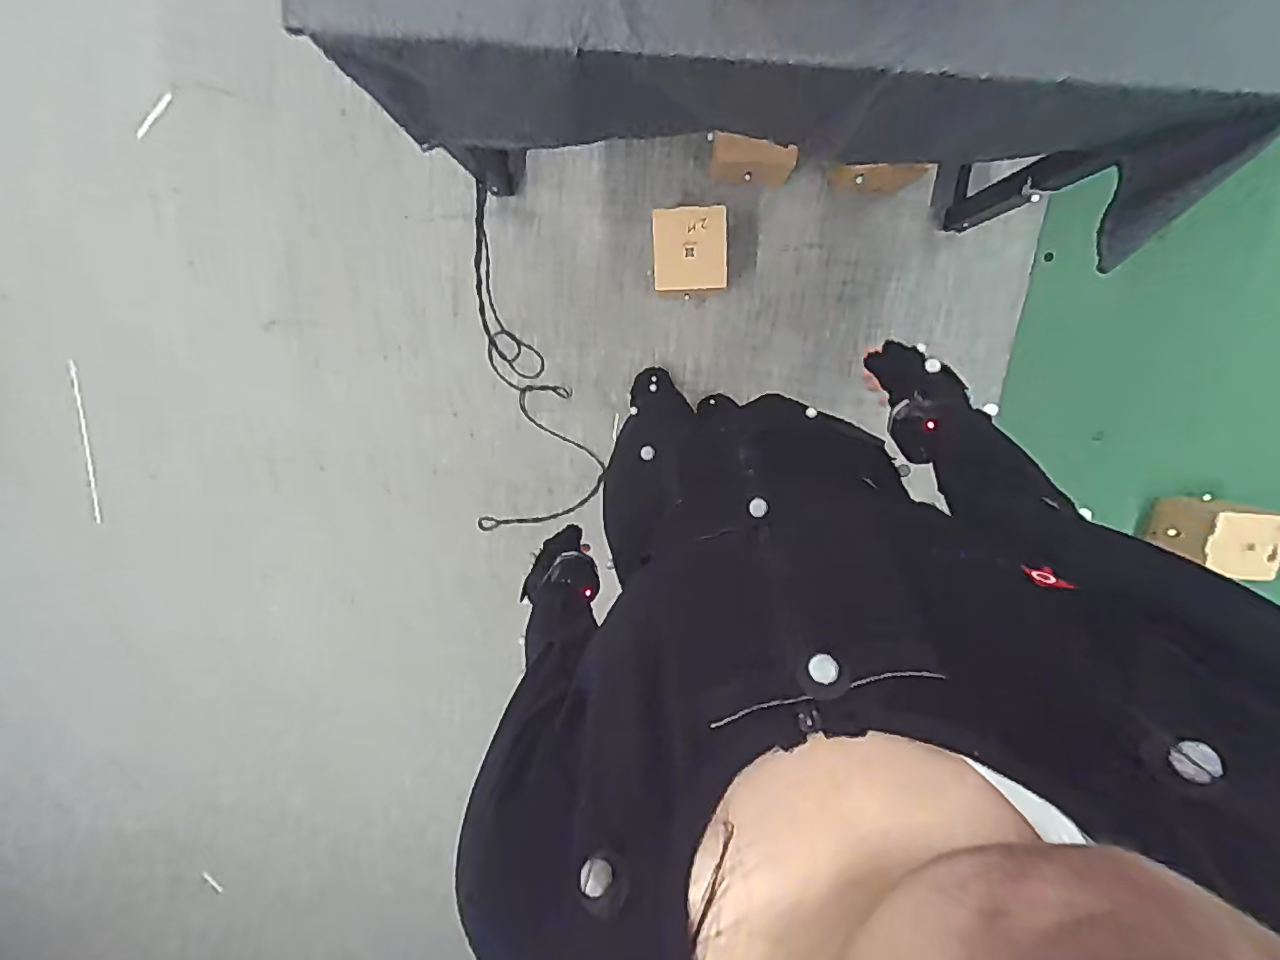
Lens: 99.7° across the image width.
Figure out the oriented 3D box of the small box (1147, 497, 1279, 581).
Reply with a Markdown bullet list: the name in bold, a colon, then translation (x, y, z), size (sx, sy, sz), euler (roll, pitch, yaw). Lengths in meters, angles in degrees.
- **small box**: translation (1.460, 0.143, 1.374), size (0.179, 0.176, 0.168), euler (4, 103, 3)

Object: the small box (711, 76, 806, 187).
- **small box**: translation (0.260, -0.779, 1.222), size (0.179, 0.176, 0.168), euler (4, 103, 3)
